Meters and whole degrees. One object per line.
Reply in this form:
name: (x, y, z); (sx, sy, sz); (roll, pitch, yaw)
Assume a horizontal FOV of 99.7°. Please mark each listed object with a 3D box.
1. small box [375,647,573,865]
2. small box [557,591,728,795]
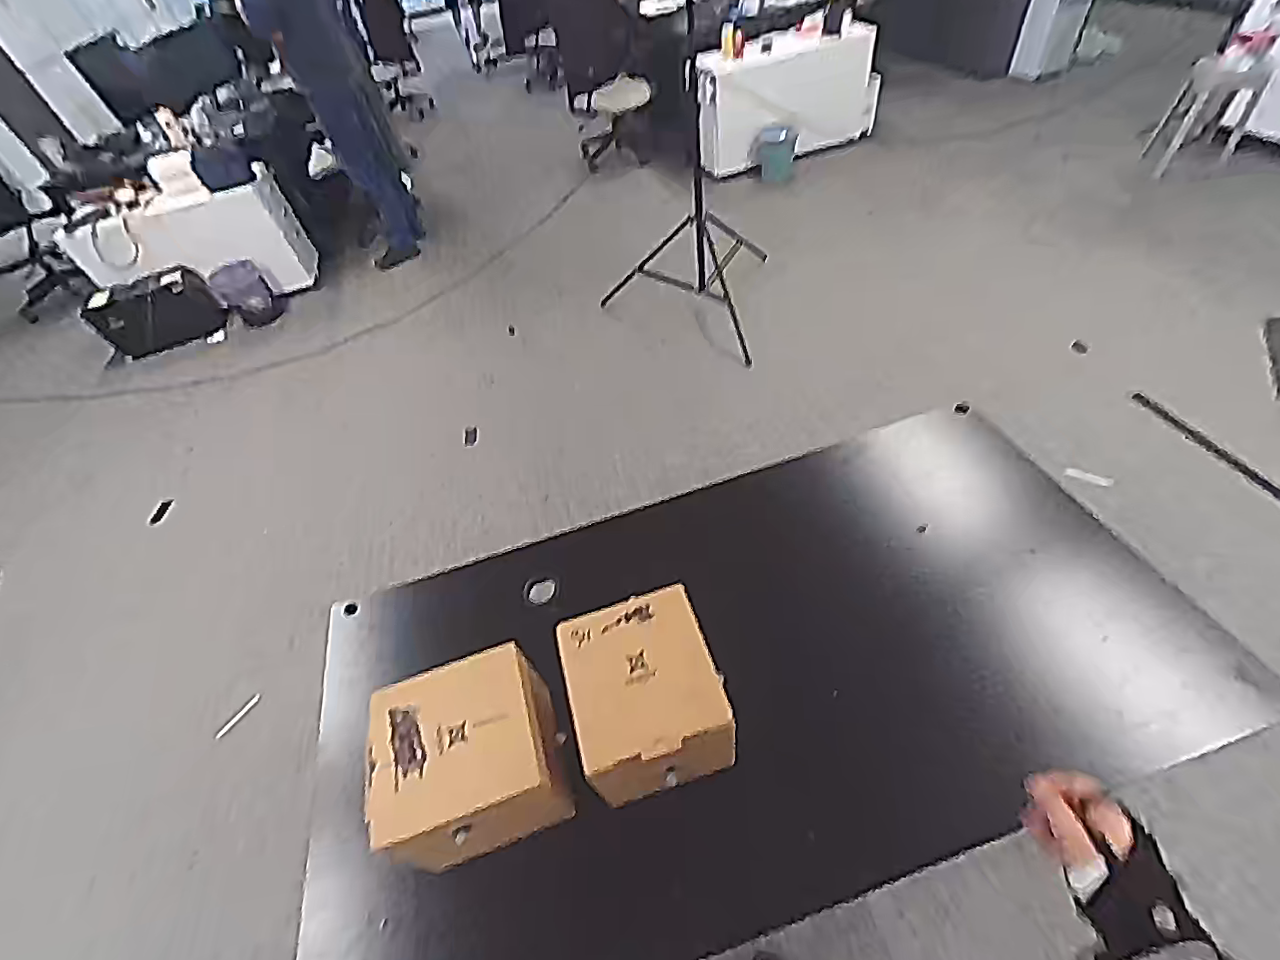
small box: (-0.197, 0.339, 0.660); (0.179, 0.176, 0.168); (-18, 49, -7)
small box: (0.006, 0.274, 0.680); (0.168, 0.176, 0.179); (-16, 49, -5)
